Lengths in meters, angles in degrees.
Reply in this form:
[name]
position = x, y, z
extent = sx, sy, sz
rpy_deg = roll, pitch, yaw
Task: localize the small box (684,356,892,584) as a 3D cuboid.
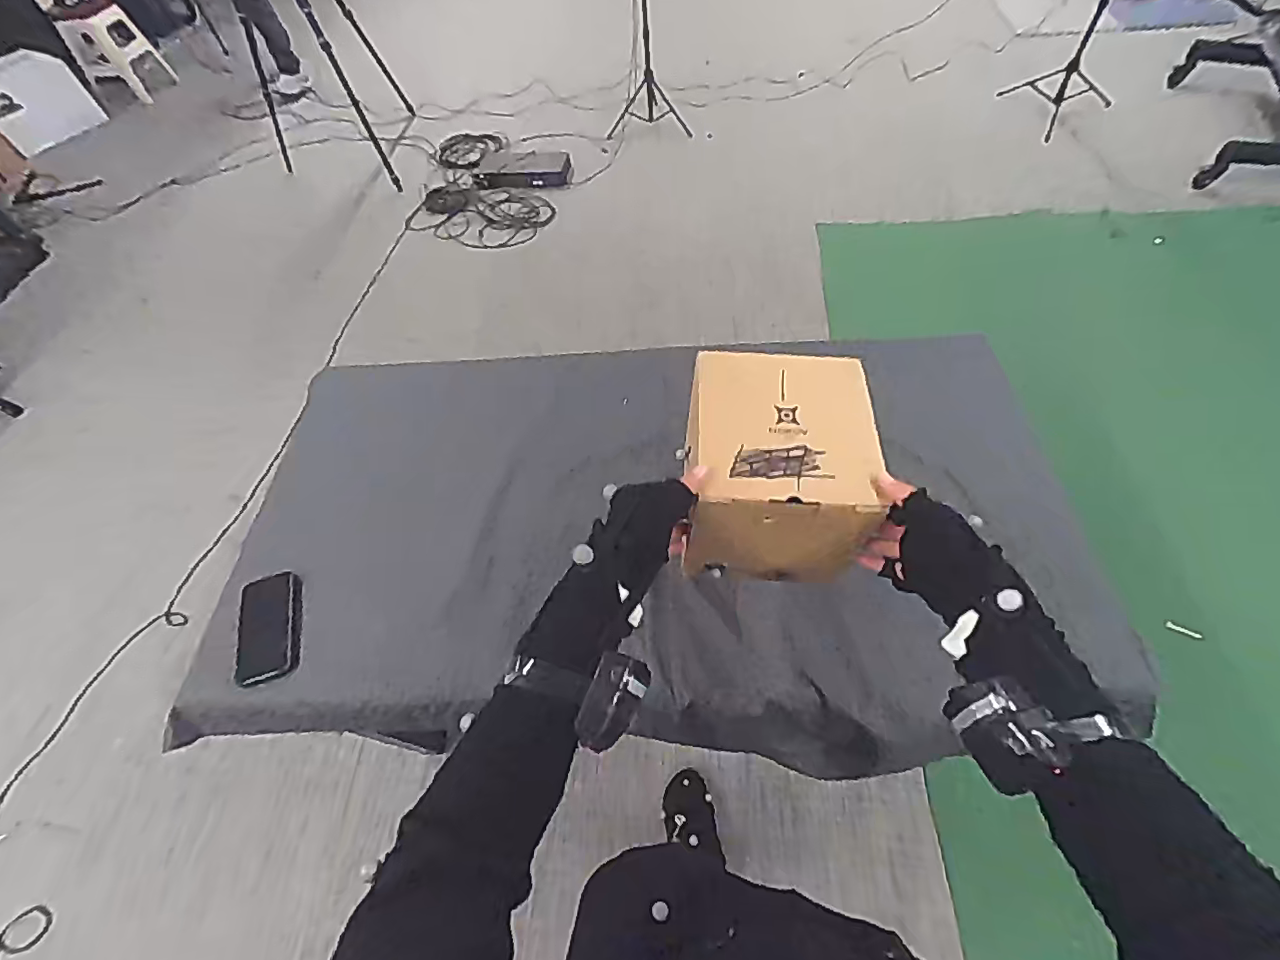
[small box]
position = 0.136, -0.004, 0.566
extent = 0.168, 0.176, 0.179
rpy_deg = 4, 56, 1
